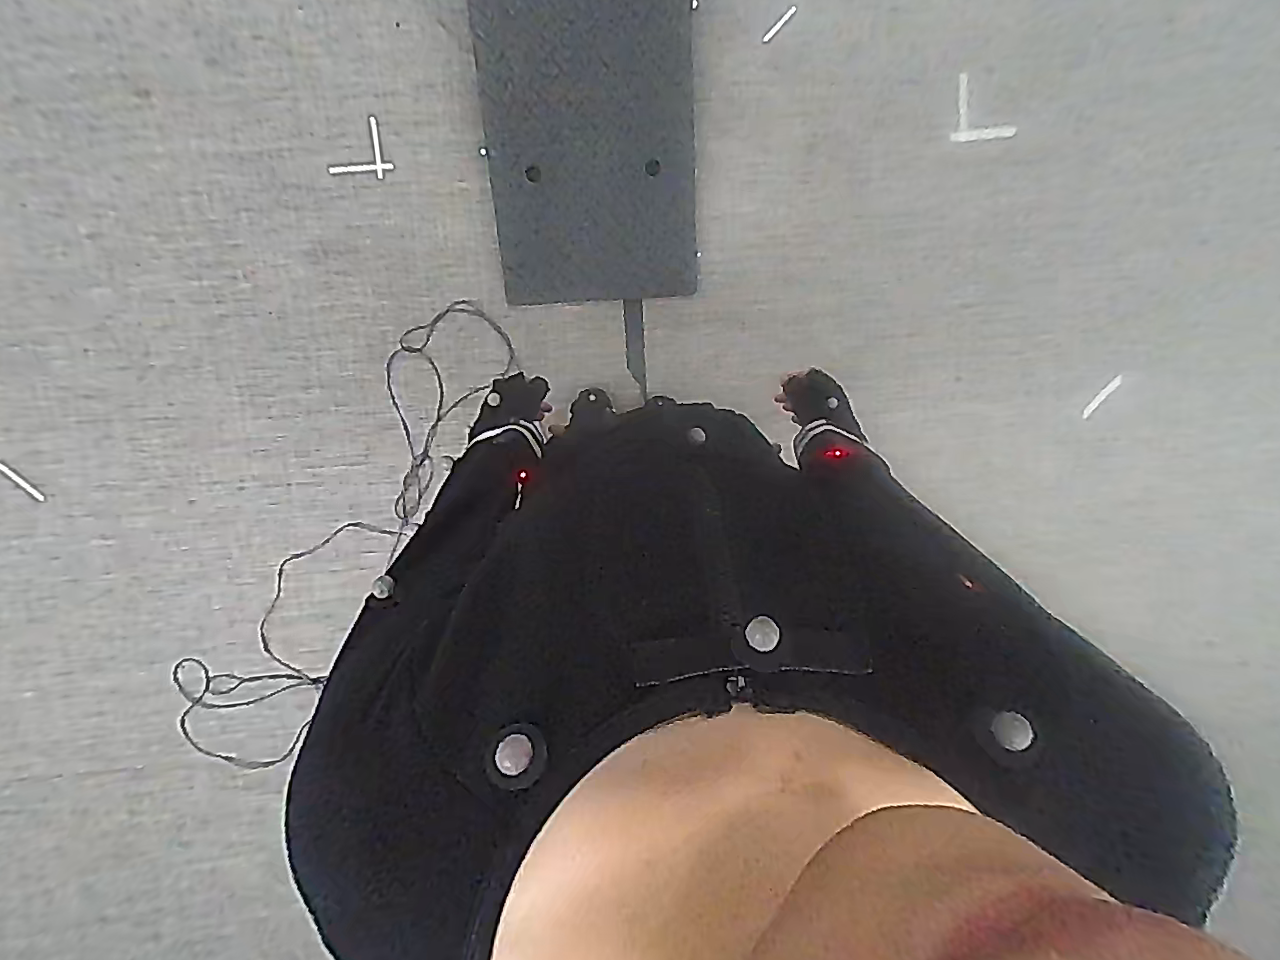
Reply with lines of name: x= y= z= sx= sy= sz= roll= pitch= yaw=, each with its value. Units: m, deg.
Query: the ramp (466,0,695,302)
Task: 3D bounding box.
ramp: x=-0.125 y=-0.940 z=1.219 sx=0.509 sy=0.206 sz=0.991 roll=-6 pitch=101 yaw=-3
